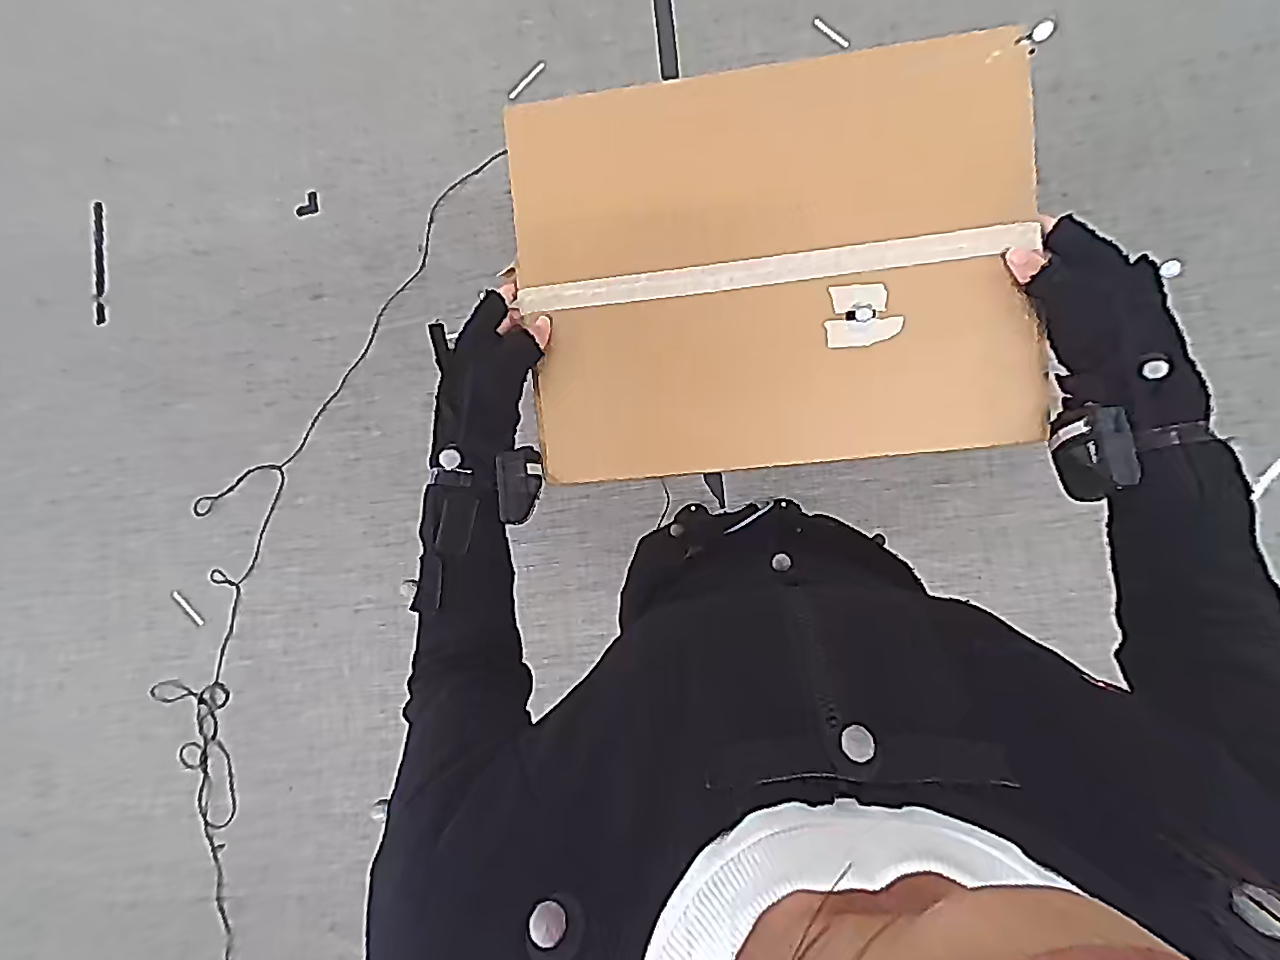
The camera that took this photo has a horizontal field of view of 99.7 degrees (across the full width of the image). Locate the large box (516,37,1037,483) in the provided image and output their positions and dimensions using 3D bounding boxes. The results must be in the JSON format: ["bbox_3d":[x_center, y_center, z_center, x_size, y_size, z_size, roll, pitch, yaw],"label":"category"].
[{"bbox_3d":[0.118,-0.180,0.592,0.408,0.320,0.320,-6,94,5],"label":"large box"}]
